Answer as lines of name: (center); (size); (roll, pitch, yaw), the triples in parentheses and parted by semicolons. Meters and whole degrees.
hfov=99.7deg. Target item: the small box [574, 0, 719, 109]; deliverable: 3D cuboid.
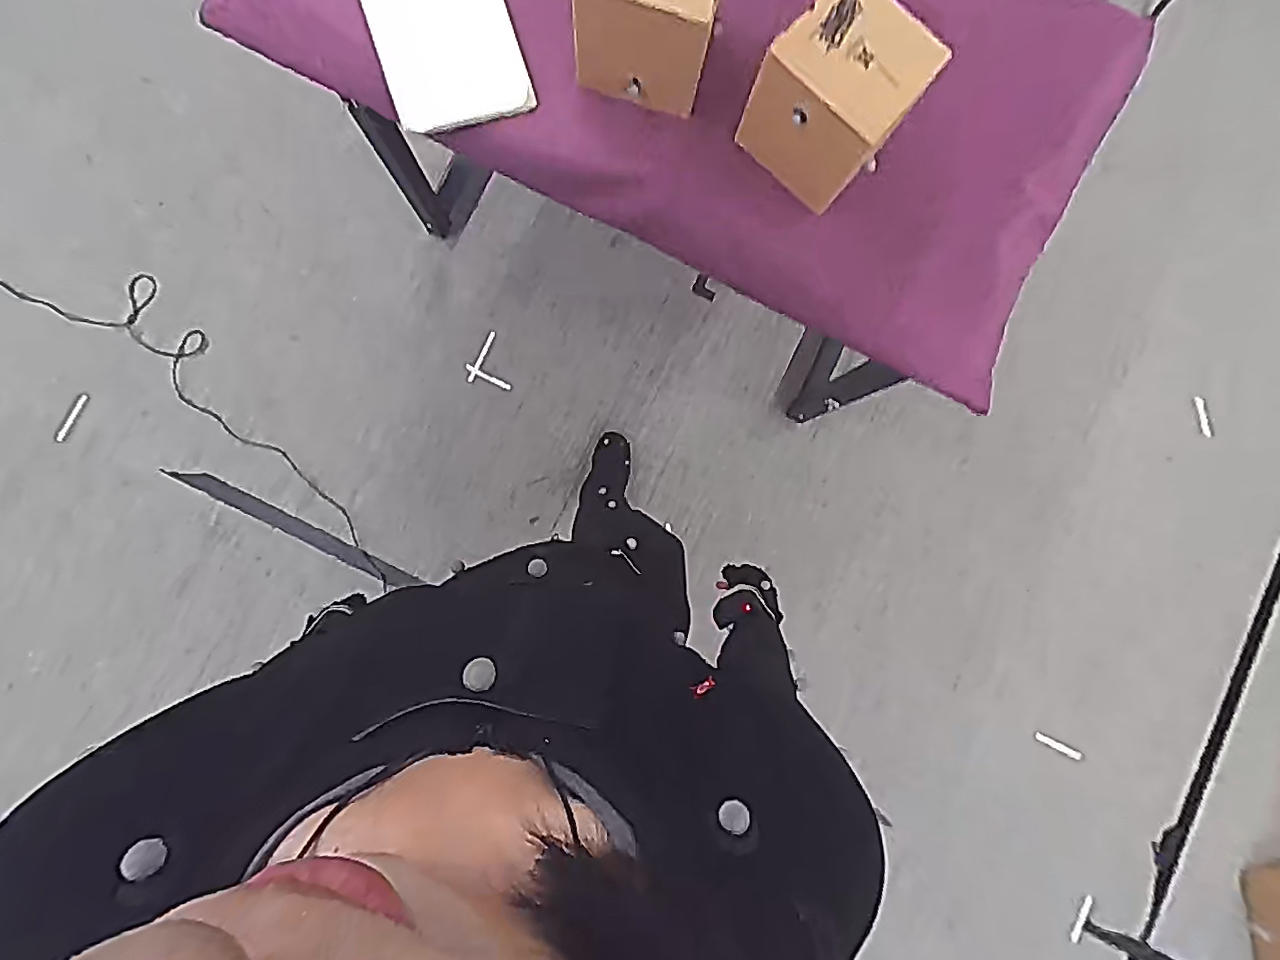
small box: (0.016, -0.650, 0.731); (0.179, 0.176, 0.168); (15, 86, -4)

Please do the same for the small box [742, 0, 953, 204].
small box: (0.266, -0.526, 0.740); (0.179, 0.176, 0.168); (41, 85, -1)
